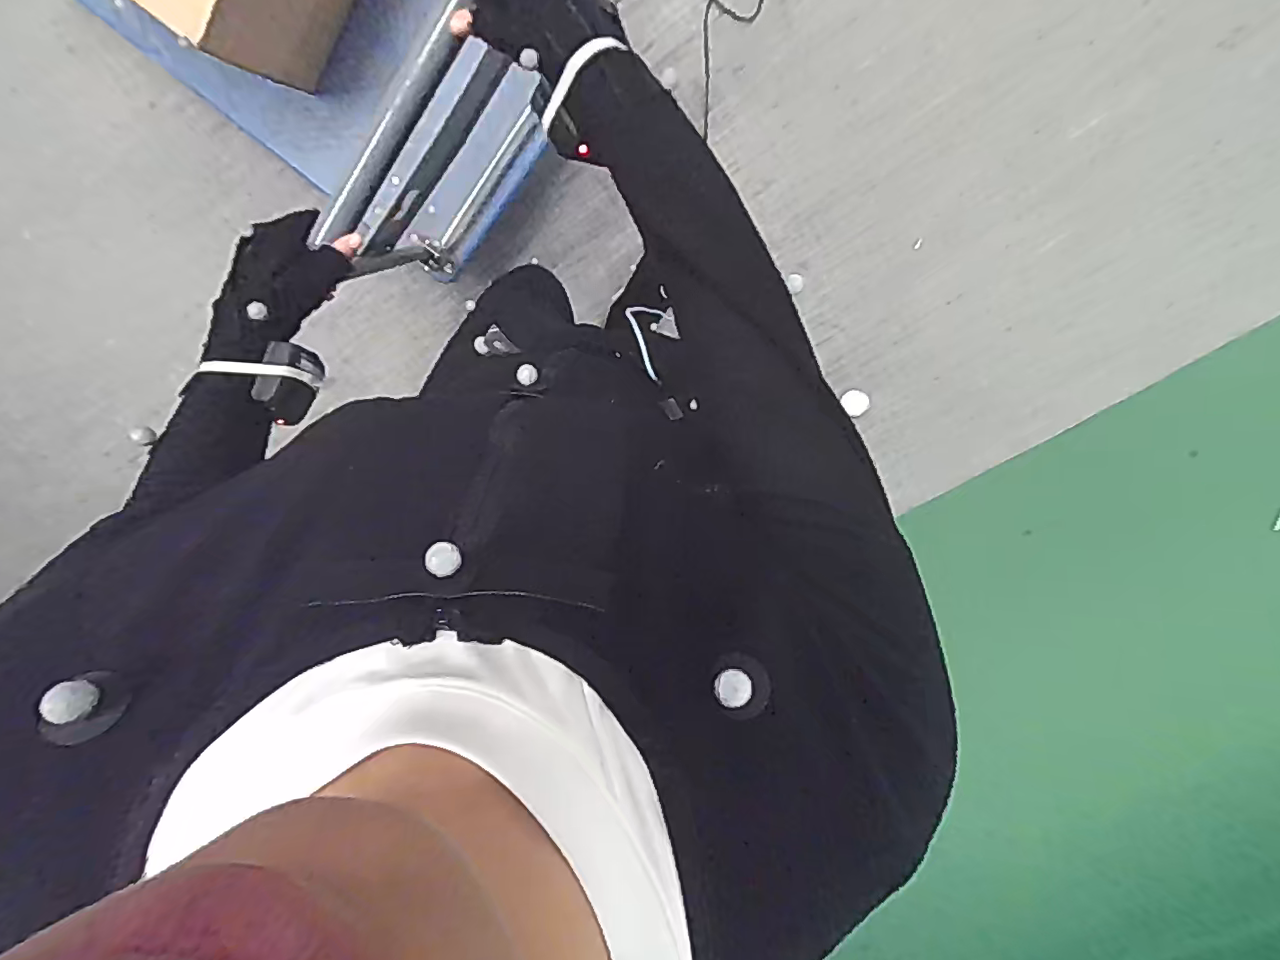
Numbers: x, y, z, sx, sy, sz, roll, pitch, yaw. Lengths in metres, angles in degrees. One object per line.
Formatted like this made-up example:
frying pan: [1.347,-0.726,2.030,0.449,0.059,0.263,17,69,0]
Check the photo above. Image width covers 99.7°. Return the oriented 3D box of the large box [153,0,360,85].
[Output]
large box: [-0.586,-0.887,0.765,0.320,0.320,0.408,35,111,-16]
